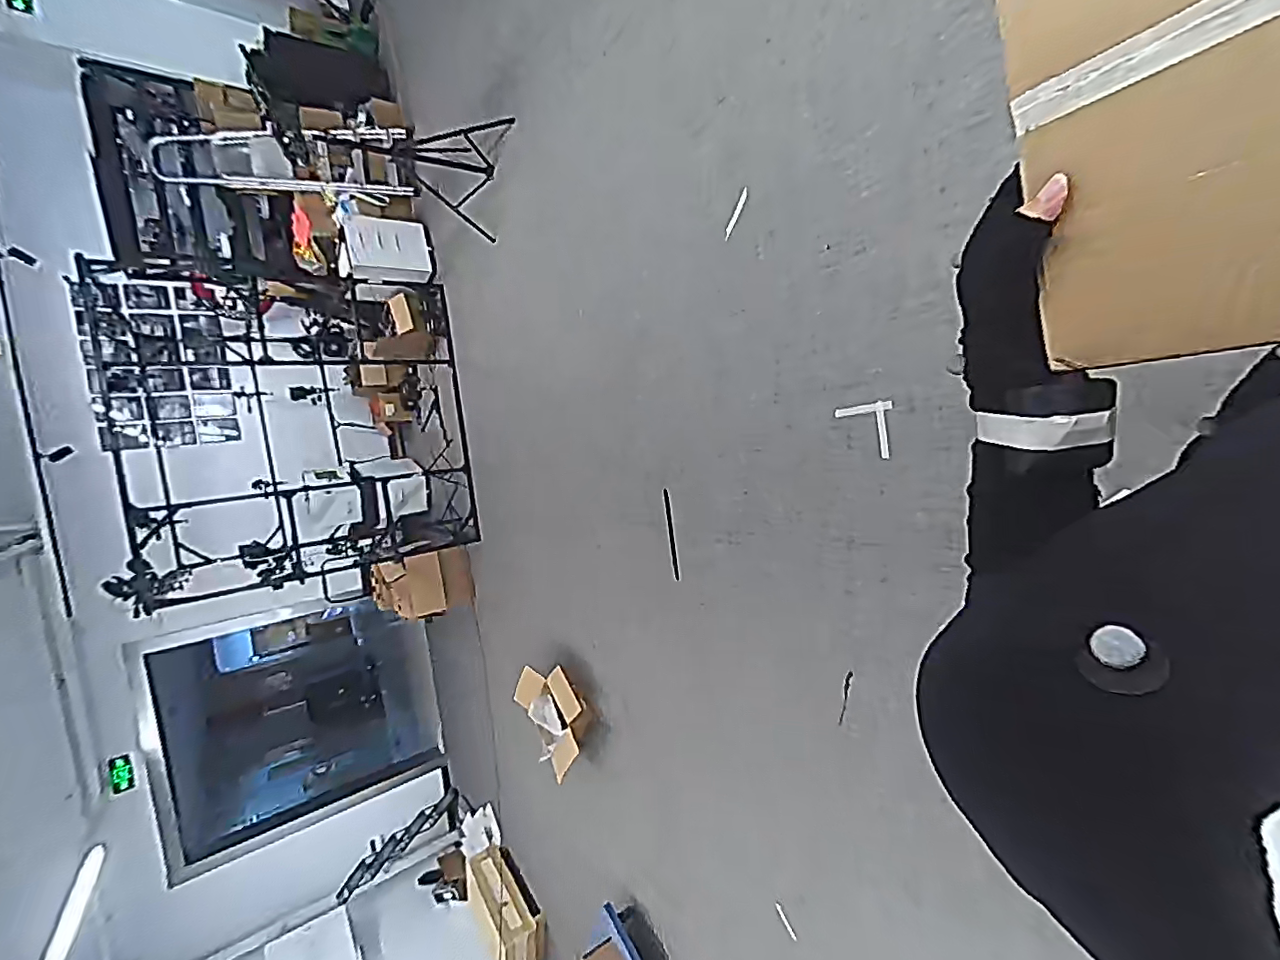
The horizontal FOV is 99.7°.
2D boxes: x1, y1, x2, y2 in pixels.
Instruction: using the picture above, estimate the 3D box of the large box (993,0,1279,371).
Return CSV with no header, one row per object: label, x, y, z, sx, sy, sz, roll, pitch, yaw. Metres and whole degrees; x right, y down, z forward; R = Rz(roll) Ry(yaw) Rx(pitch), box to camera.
large box,0.460,-0.268,0.249,0.408,0.320,0.320,-1,106,57
